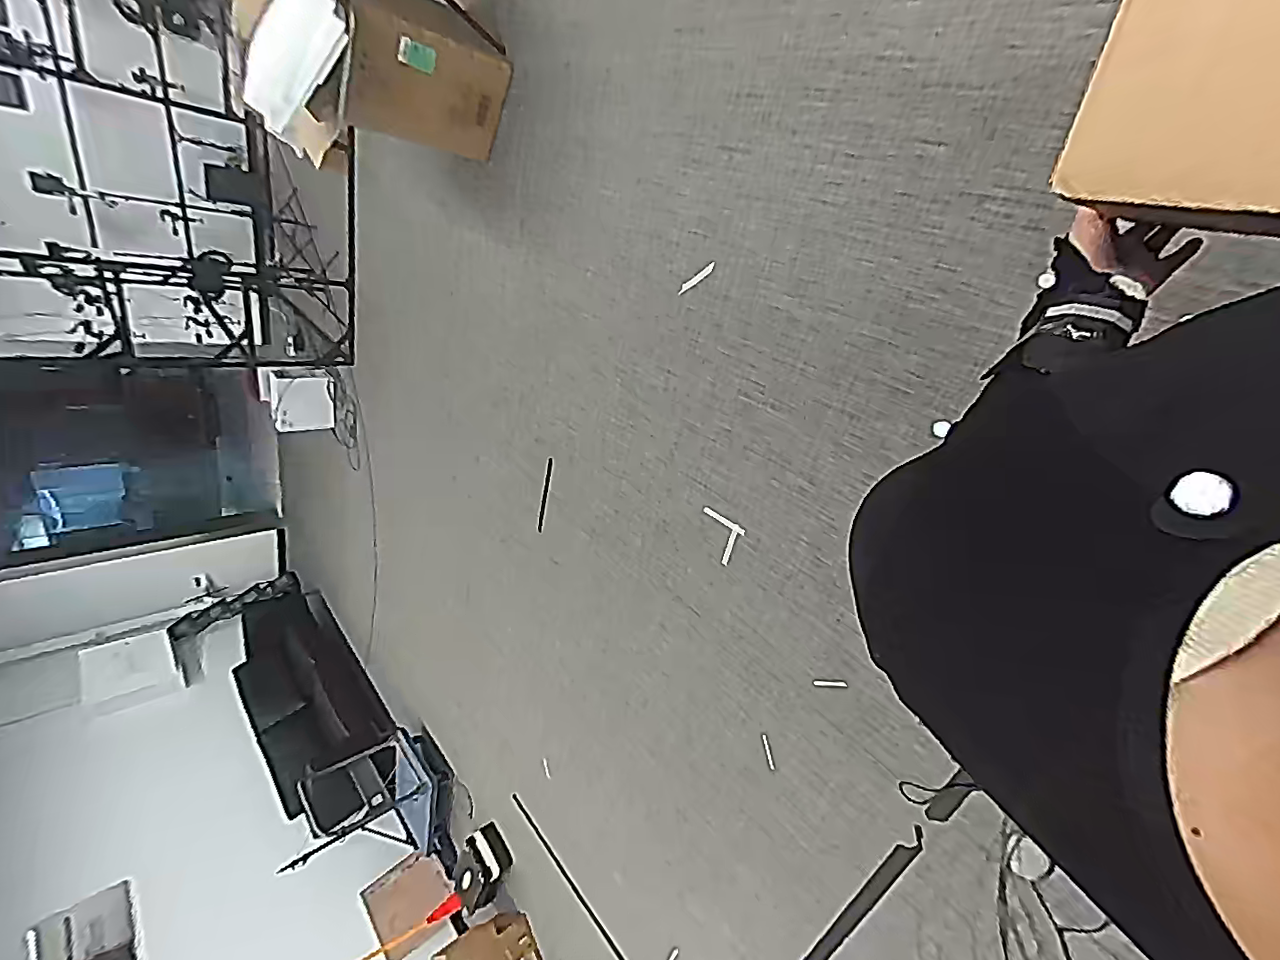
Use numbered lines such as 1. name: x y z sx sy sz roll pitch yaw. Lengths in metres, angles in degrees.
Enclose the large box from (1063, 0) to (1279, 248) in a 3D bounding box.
1. large box: 0.504 -0.260 0.231 0.408 0.320 0.320 29 126 38
